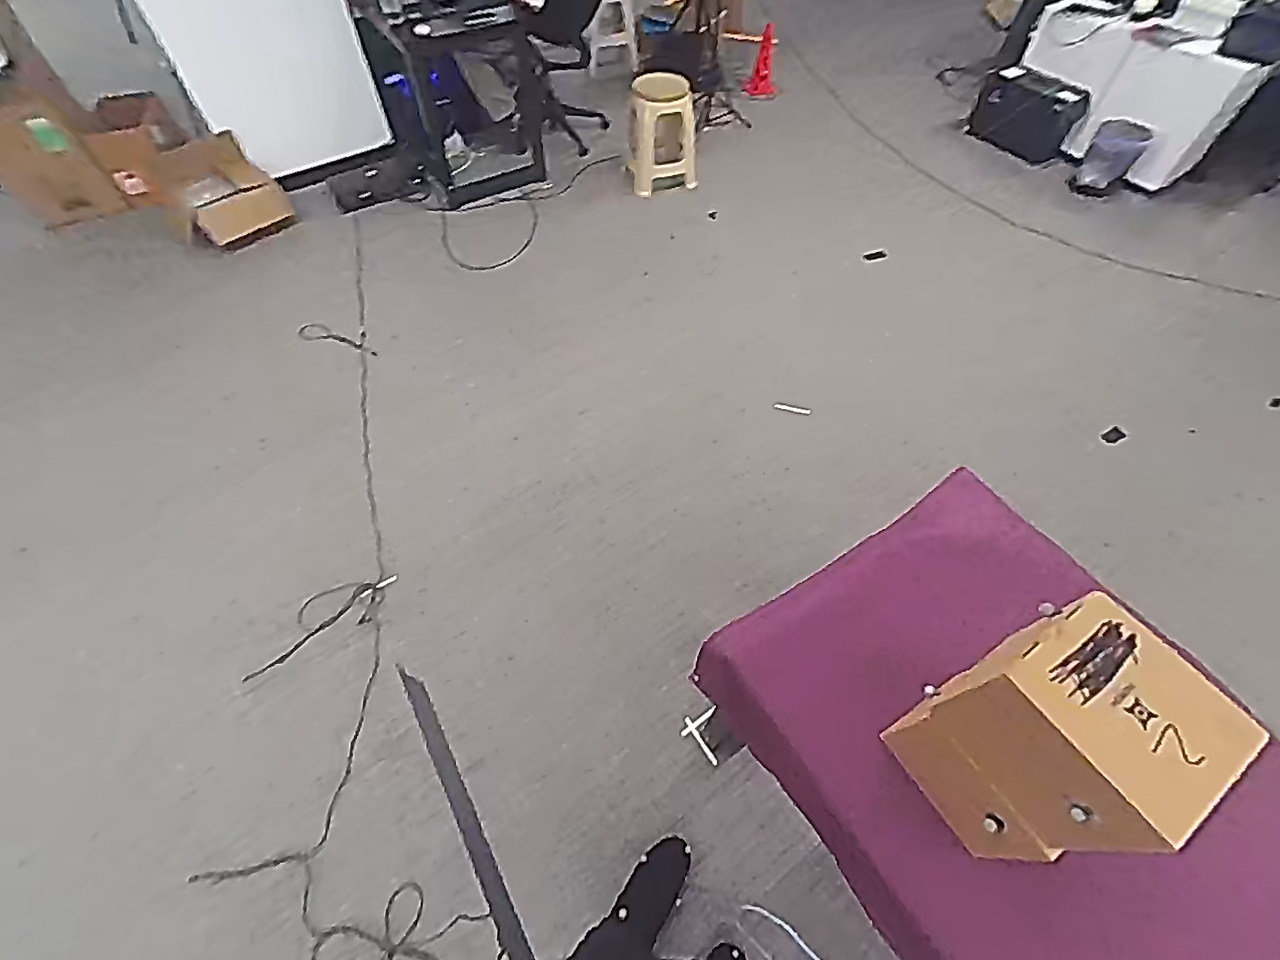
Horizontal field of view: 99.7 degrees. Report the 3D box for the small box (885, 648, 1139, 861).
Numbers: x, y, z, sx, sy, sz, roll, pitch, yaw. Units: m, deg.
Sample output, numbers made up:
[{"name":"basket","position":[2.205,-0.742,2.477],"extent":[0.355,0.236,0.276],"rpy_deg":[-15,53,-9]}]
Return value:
[{"name":"small box","position":[0.465,0.356,0.709],"extent":[0.168,0.176,0.179],"rpy_deg":[-26,60,-17]}]
